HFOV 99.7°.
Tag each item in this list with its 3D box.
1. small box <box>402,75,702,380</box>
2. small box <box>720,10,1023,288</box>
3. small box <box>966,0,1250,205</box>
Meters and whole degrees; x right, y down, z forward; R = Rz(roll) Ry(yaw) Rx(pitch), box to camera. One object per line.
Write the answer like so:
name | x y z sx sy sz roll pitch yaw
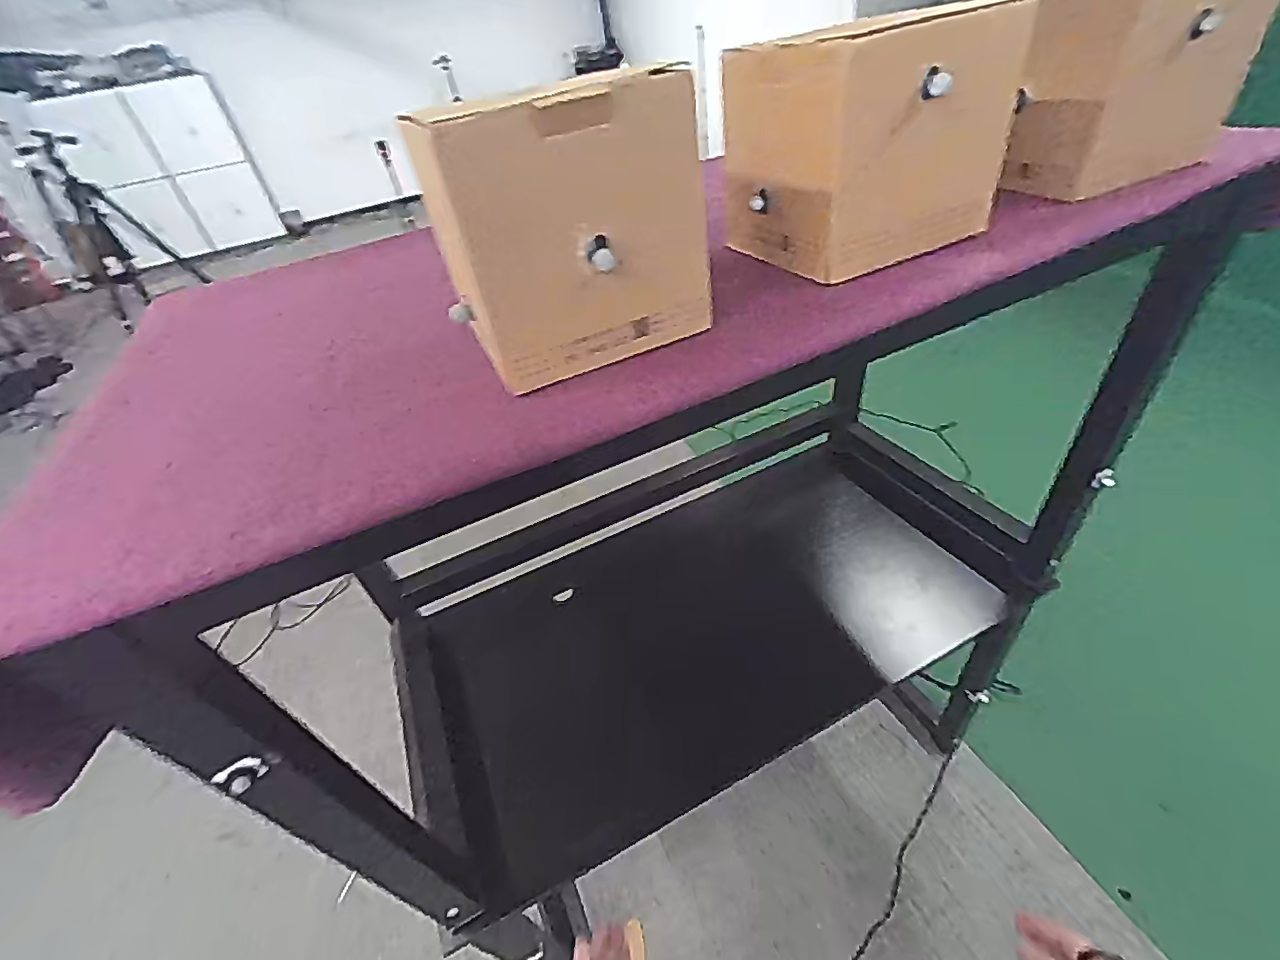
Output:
small box | -0.063 -0.195 0.422 0.168 0.176 0.179 -22 40 -15
small box | 0.190 -0.298 0.493 0.179 0.176 0.168 -23 40 -13
small box | 0.451 -0.401 0.557 0.179 0.176 0.168 -20 41 -11
